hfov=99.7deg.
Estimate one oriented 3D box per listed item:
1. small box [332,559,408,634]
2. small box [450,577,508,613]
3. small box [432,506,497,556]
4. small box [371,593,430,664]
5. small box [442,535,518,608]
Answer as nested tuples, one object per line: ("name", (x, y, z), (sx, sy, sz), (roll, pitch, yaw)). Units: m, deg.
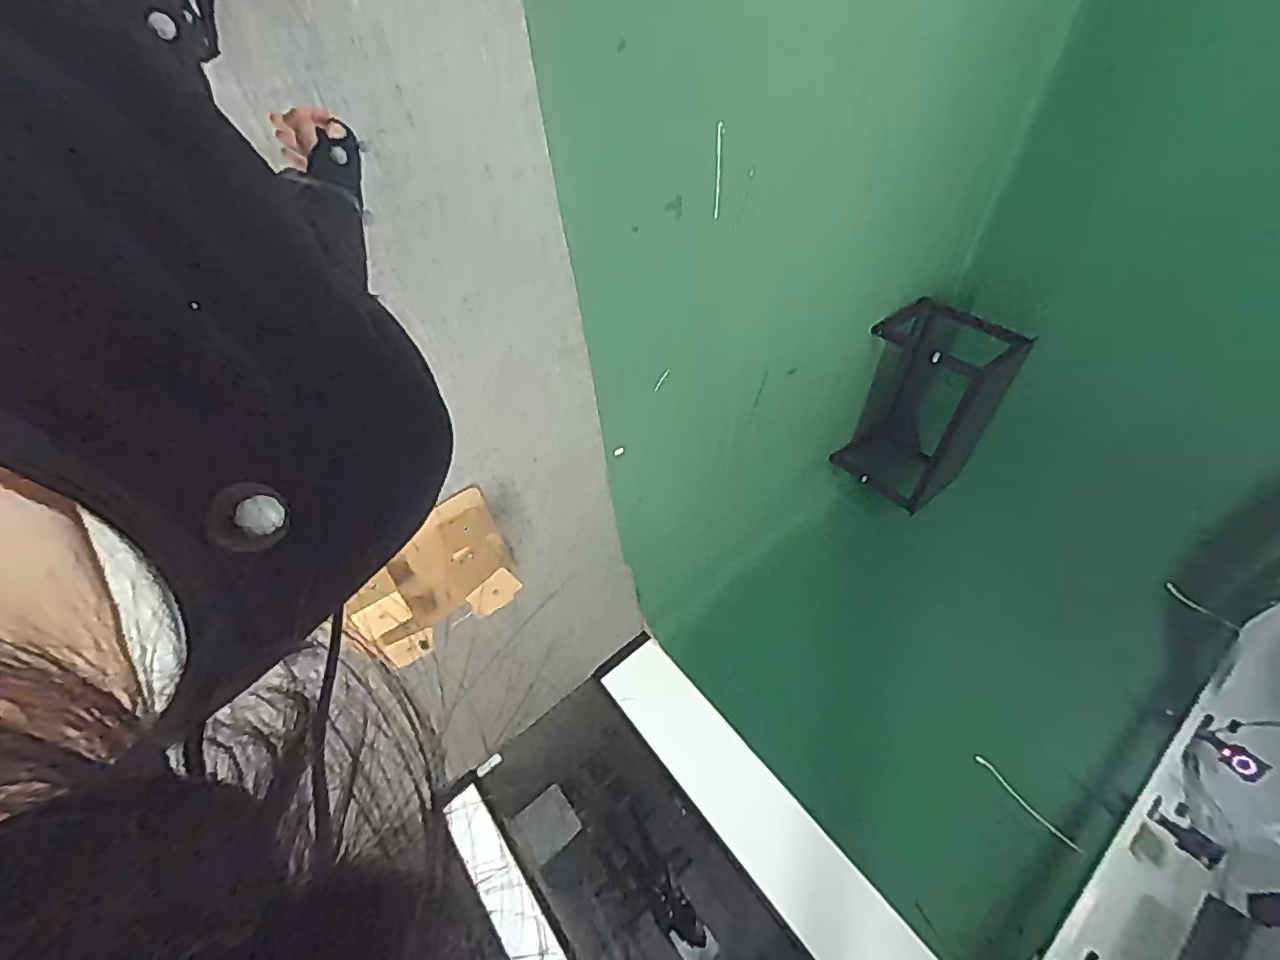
("small box", (-0.958, 0.404, 1.915), (0.168, 0.176, 0.179), (-30, 144, -25))
("small box", (-0.676, 0.414, 2.256), (0.179, 0.176, 0.168), (-29, 143, -27))
("small box", (-0.669, 0.220, 2.058), (0.168, 0.176, 0.179), (-29, 144, -25))
("small box", (-0.942, 0.571, 2.109), (0.179, 0.176, 0.168), (-21, 139, -33))
("small box", (-0.583, 0.331, 1.971), (0.168, 0.176, 0.179), (-41, 147, -12))
